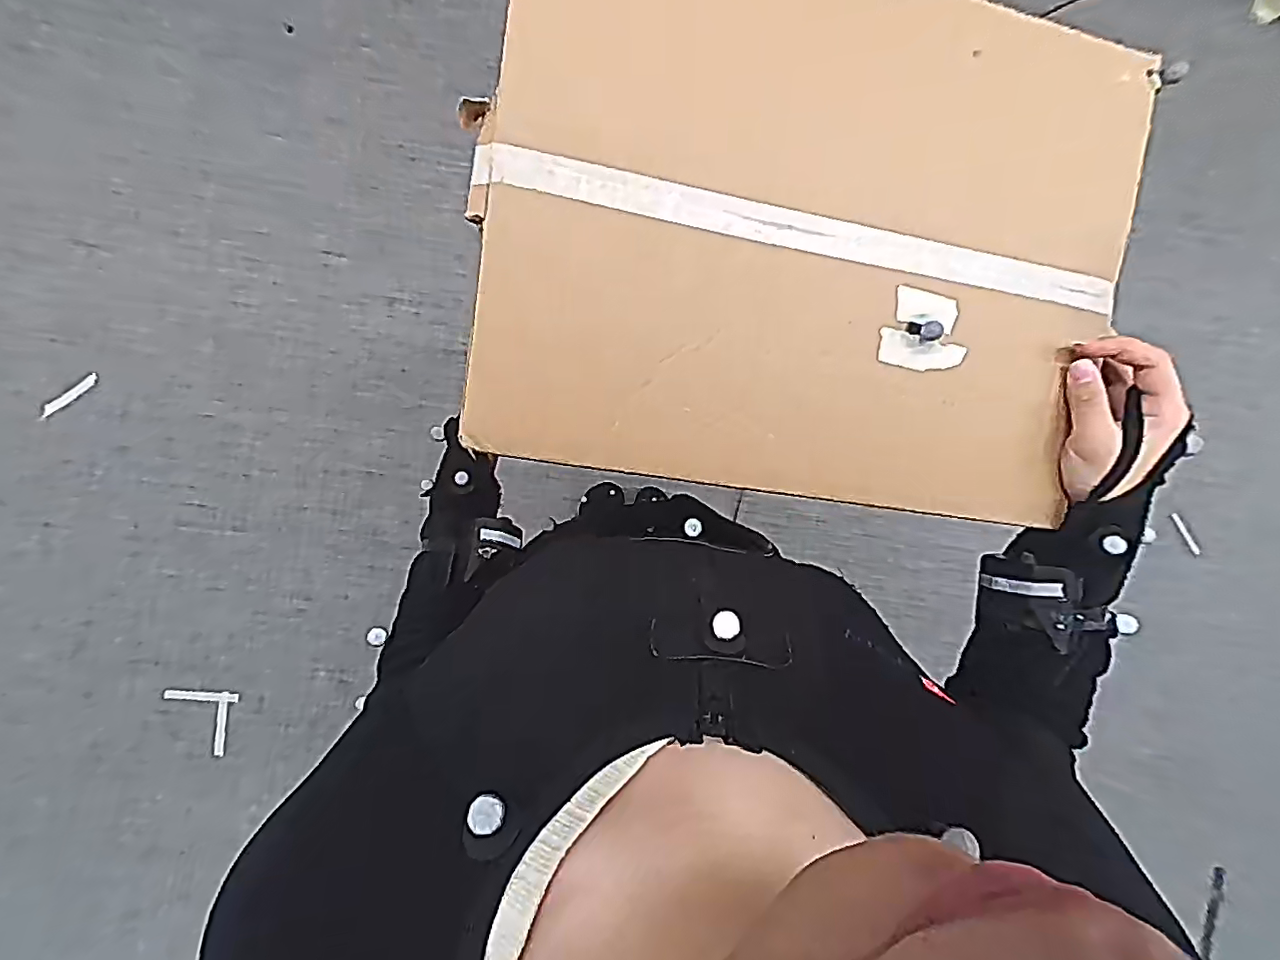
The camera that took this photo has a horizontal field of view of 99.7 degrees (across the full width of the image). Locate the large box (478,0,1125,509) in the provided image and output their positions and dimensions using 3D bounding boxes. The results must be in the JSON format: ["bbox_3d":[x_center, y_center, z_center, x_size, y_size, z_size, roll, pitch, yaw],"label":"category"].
[{"bbox_3d":[0.088,-0.165,0.482,0.408,0.320,0.320,7,95,-11],"label":"large box"}]
